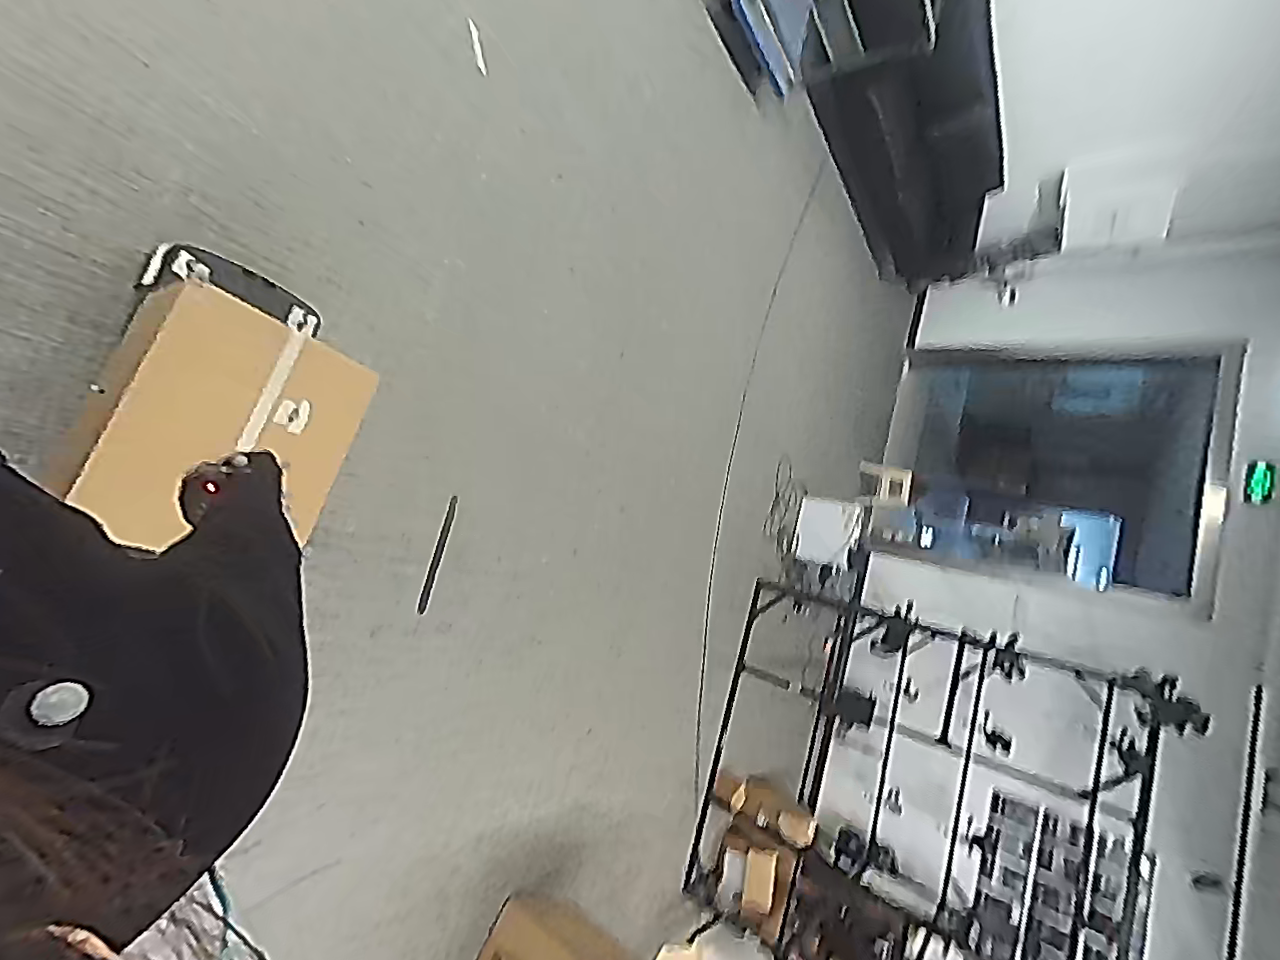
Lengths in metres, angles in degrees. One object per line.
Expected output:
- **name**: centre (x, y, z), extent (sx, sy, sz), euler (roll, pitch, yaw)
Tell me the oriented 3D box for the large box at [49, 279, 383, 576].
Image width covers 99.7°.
- **large box**: centre (-0.743, -0.078, 0.967), extent (0.320, 0.320, 0.408), euler (33, 71, -50)
